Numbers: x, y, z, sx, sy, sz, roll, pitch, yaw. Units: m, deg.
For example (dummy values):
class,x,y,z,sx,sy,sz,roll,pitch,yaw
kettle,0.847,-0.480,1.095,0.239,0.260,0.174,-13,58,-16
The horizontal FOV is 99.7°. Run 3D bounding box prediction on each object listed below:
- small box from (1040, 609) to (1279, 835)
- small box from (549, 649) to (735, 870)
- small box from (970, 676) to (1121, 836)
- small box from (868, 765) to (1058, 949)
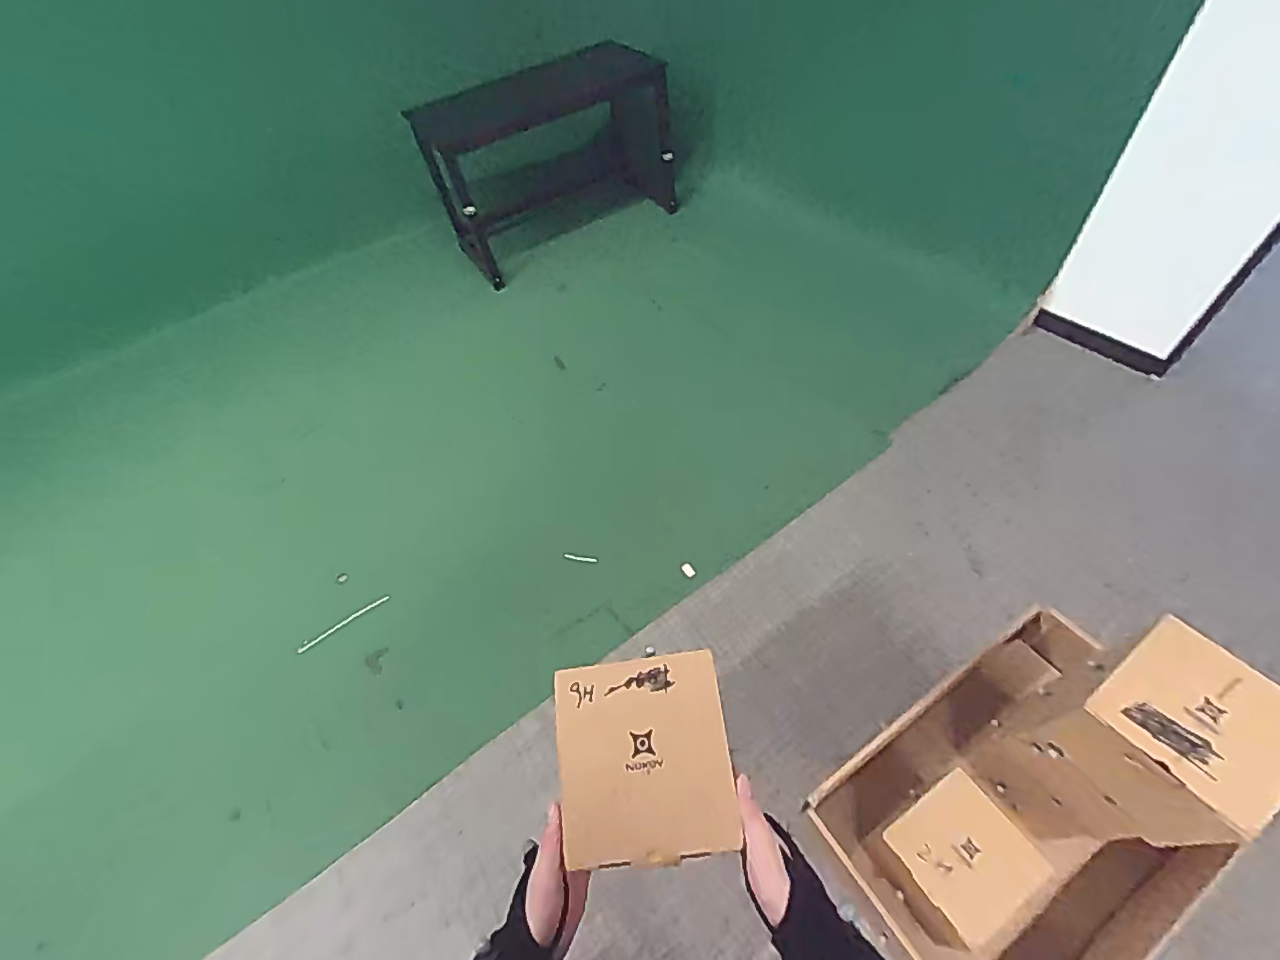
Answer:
class,x,y,z,sx,sy,sz,roll,pitch,yaw
small box,0.634,0.297,0.656,0.179,0.176,0.168,-35,55,-14
small box,0.006,0.291,0.587,0.168,0.176,0.179,-9,65,3
small box,0.708,0.473,0.925,0.179,0.176,0.168,-34,55,-12
small box,0.496,0.594,0.861,0.179,0.176,0.168,-30,53,-14
